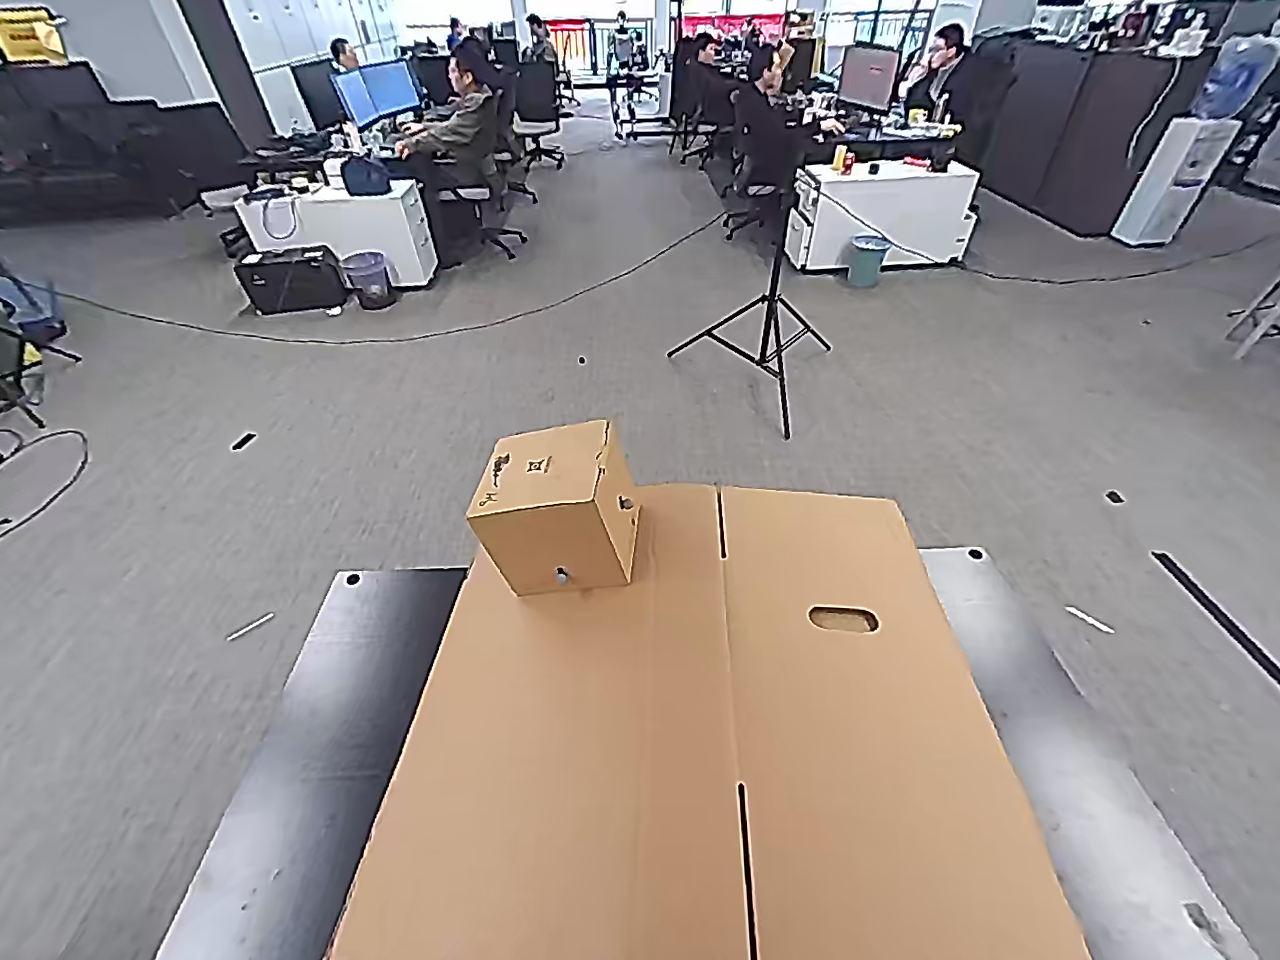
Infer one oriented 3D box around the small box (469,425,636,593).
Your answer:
[{"bbox_3d":[-0.110,0.046,0.781,0.179,0.176,0.168,-8,40,12],"label":"small box"}]
